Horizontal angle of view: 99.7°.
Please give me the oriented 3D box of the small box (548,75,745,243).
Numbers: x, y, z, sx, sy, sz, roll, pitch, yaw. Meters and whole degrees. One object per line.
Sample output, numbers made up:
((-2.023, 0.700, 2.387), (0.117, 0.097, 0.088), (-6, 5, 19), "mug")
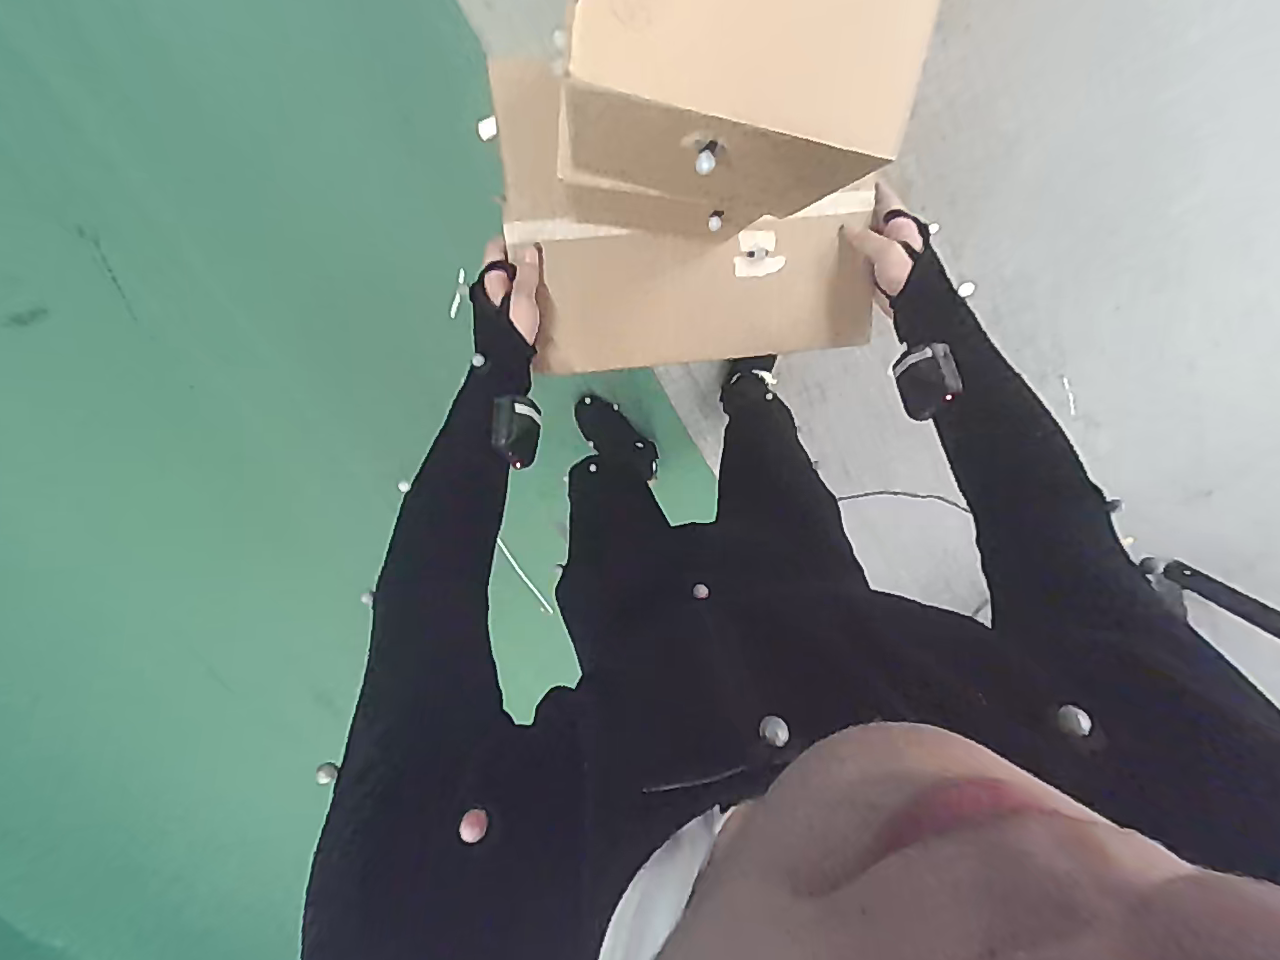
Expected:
((0.020, -0.314, 0.469), (0.179, 0.176, 0.168), (5, 105, -6), "small box")

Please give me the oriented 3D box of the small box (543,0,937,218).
((0.050, -0.268, 0.315), (0.179, 0.176, 0.168), (10, 105, -8), "small box")

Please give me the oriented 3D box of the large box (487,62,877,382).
((0.046, -0.322, 0.723), (0.408, 0.320, 0.320), (-7, 108, -3), "large box")
